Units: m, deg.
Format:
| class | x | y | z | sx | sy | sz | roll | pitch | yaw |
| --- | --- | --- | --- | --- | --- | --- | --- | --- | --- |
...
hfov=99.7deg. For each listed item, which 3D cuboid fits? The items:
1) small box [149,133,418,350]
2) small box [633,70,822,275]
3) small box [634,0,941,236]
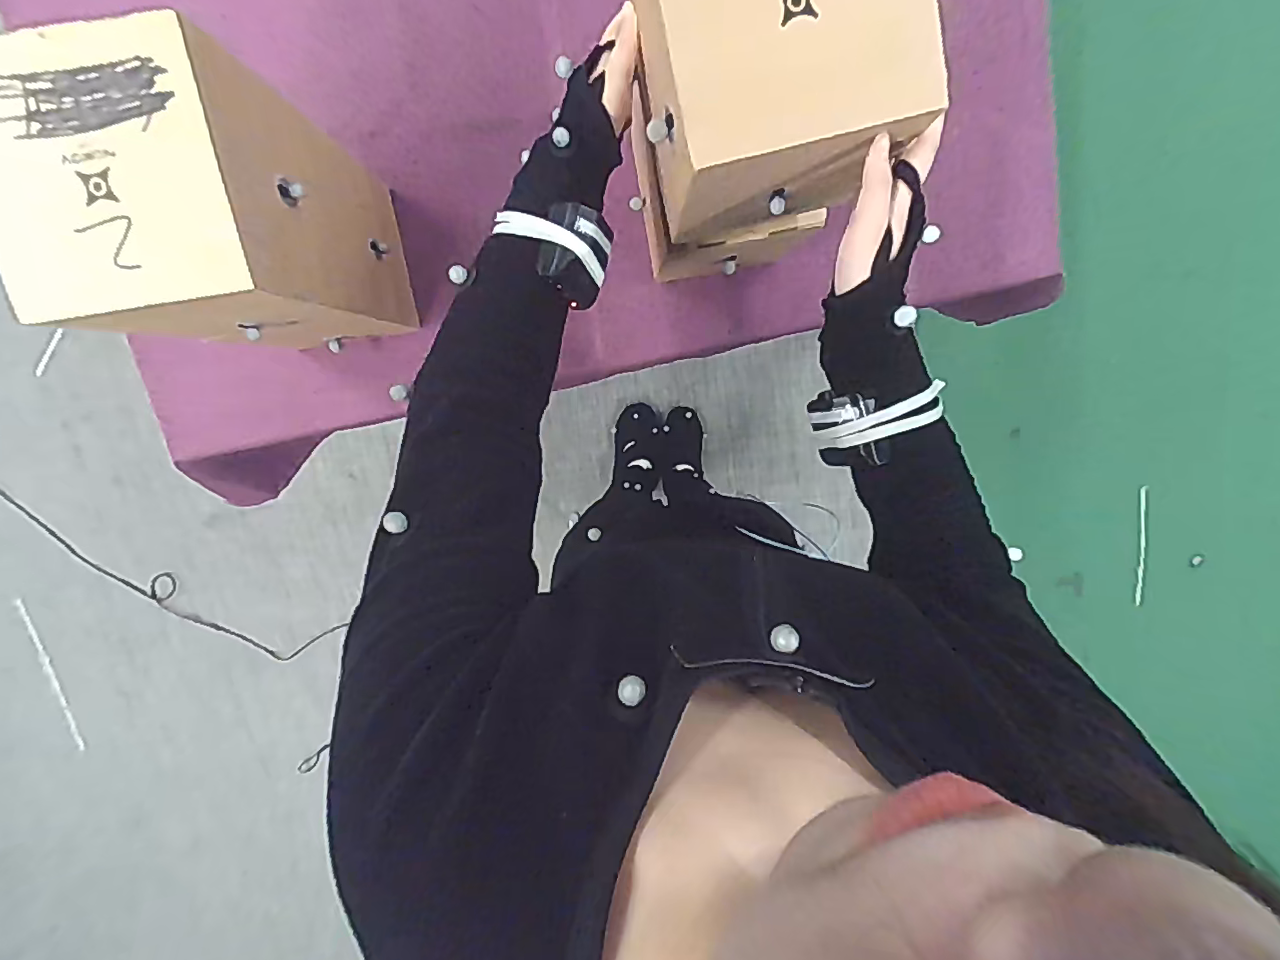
| class | x | y | z | sx | sy | sz | roll | pitch | yaw |
| --- | --- | --- | --- | --- | --- | --- | --- | --- | --- |
| small box | -0.371 | -0.247 | 0.601 | 0.168 | 0.176 | 0.179 | -9 | 102 | -1 |
| small box | 0.087 | -0.337 | 0.604 | 0.168 | 0.176 | 0.179 | -11 | 102 | -1 |
| small box | 0.093 | -0.303 | 0.410 | 0.168 | 0.176 | 0.179 | -13 | 99 | 1 |
